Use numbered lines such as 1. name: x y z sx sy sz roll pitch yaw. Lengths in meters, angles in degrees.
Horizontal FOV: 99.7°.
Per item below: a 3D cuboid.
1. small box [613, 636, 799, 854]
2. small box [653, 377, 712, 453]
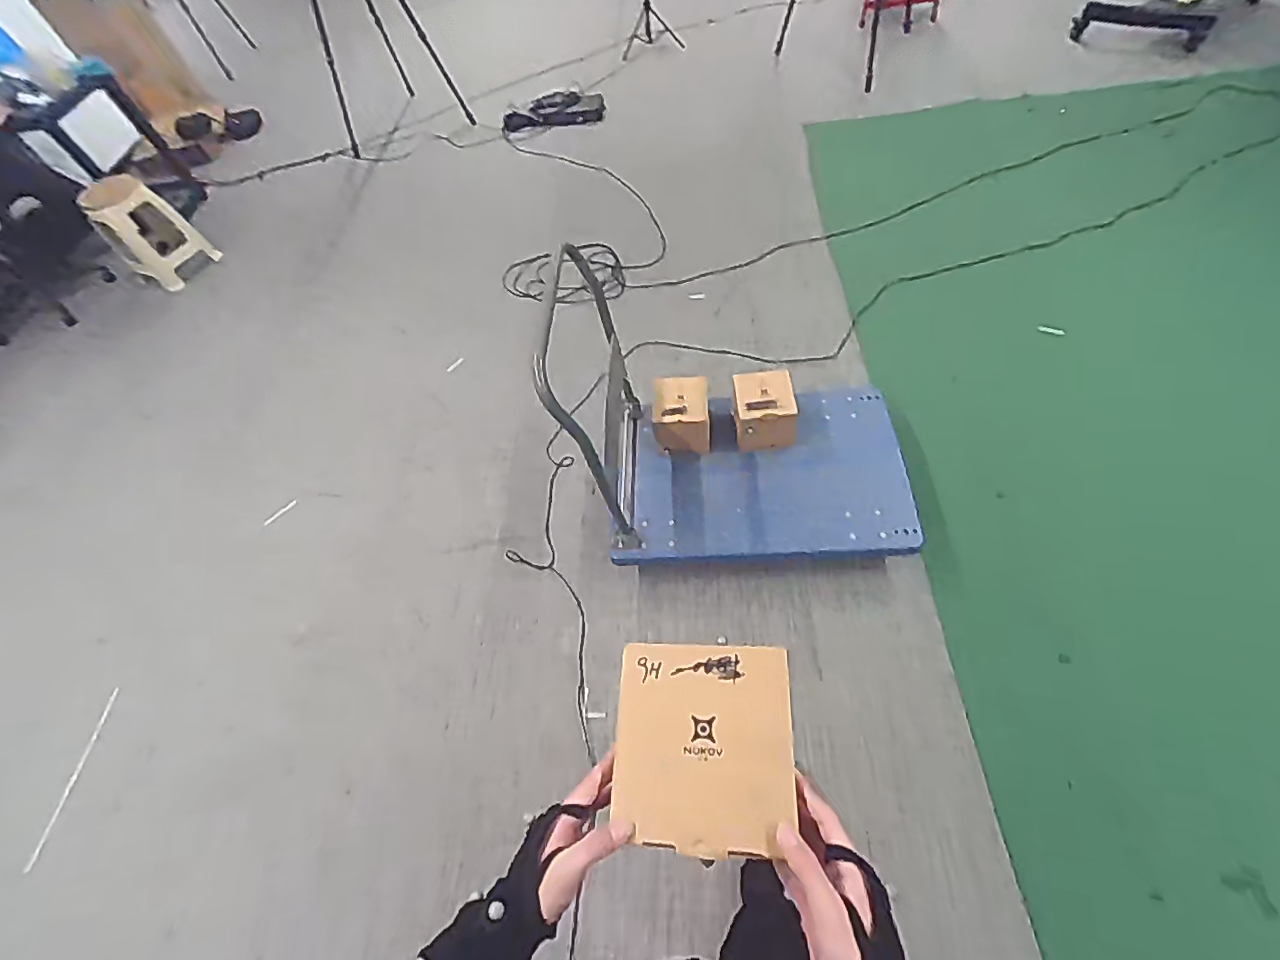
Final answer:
1. small box: 0.076 0.274 0.572 0.168 0.176 0.179 -1 60 11
2. small box: 0.137 -0.197 1.675 0.168 0.176 0.179 0 57 8
